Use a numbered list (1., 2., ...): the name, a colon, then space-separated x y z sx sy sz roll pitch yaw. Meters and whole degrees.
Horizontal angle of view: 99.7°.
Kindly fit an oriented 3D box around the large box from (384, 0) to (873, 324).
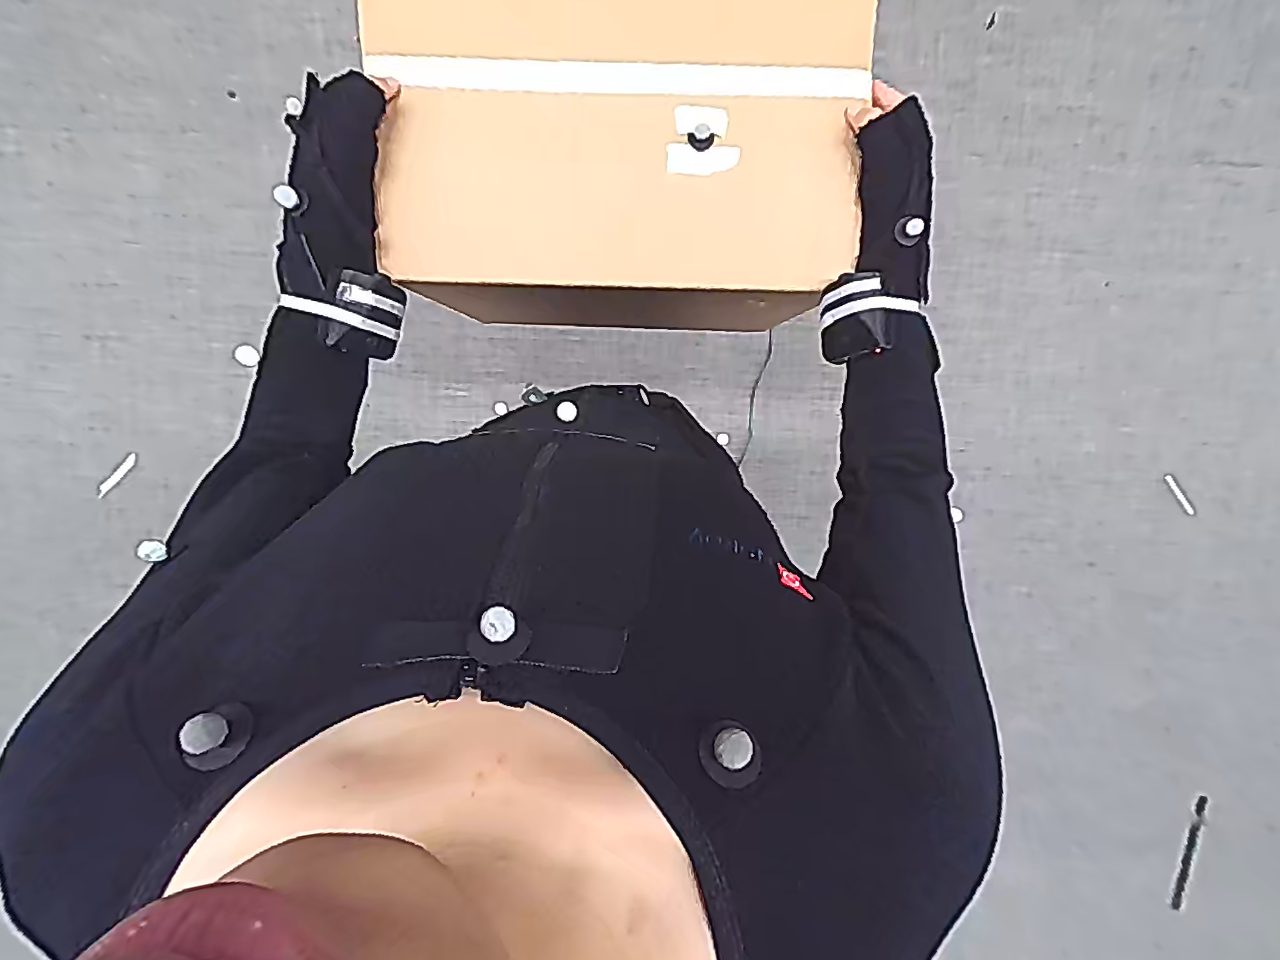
1. large box: -0.014 -0.351 0.593 0.408 0.320 0.320 1 99 -1
